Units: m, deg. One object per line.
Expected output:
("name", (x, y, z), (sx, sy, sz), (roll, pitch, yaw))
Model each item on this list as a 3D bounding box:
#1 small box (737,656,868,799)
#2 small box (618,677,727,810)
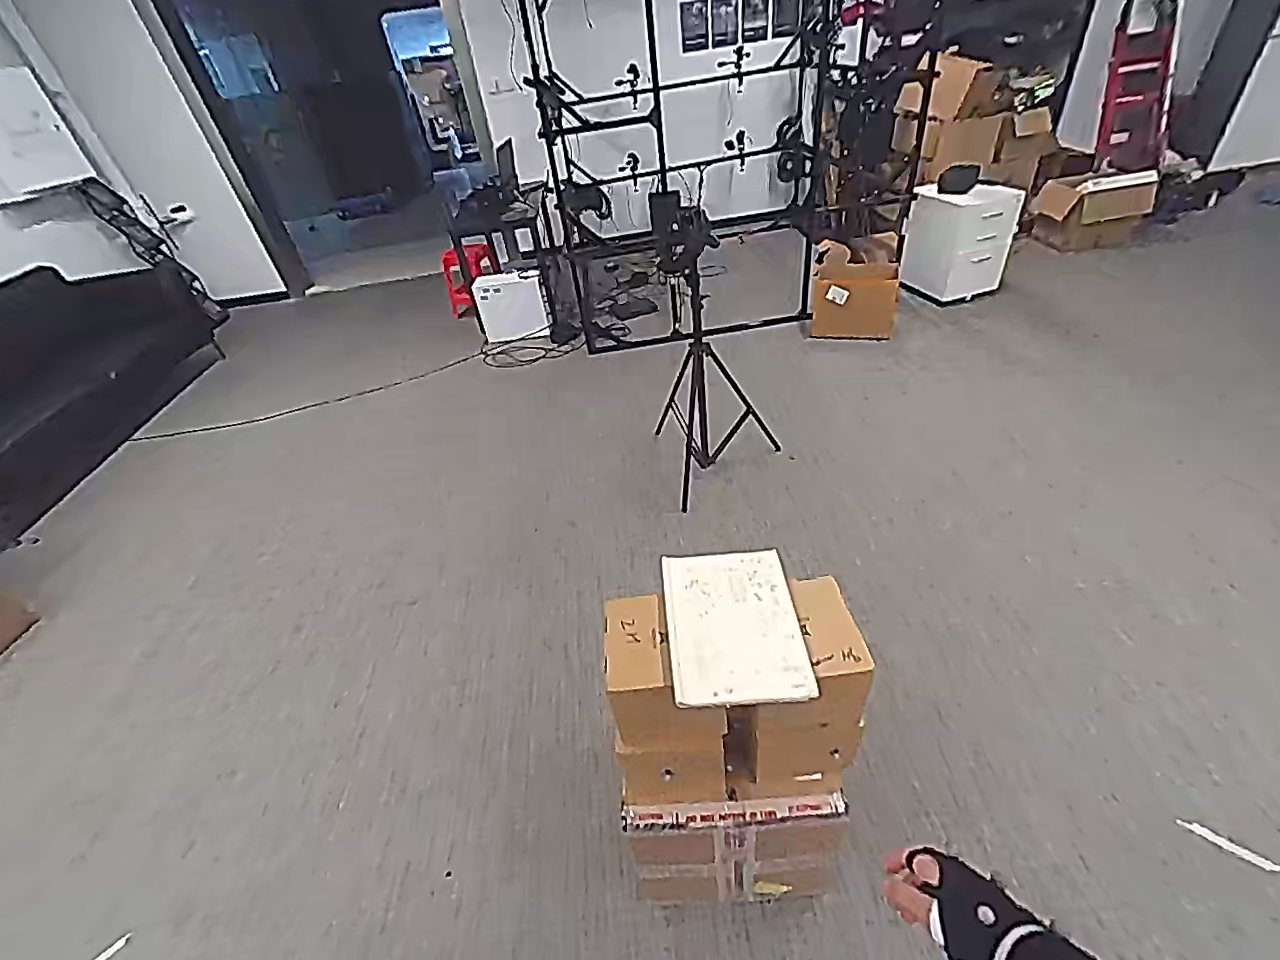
("small box", (0.277, 0.444, 0.968), (0.179, 0.176, 0.168), (-9, 39, -1))
("small box", (0.064, 0.473, 0.971), (0.179, 0.176, 0.168), (-5, 40, 7))
